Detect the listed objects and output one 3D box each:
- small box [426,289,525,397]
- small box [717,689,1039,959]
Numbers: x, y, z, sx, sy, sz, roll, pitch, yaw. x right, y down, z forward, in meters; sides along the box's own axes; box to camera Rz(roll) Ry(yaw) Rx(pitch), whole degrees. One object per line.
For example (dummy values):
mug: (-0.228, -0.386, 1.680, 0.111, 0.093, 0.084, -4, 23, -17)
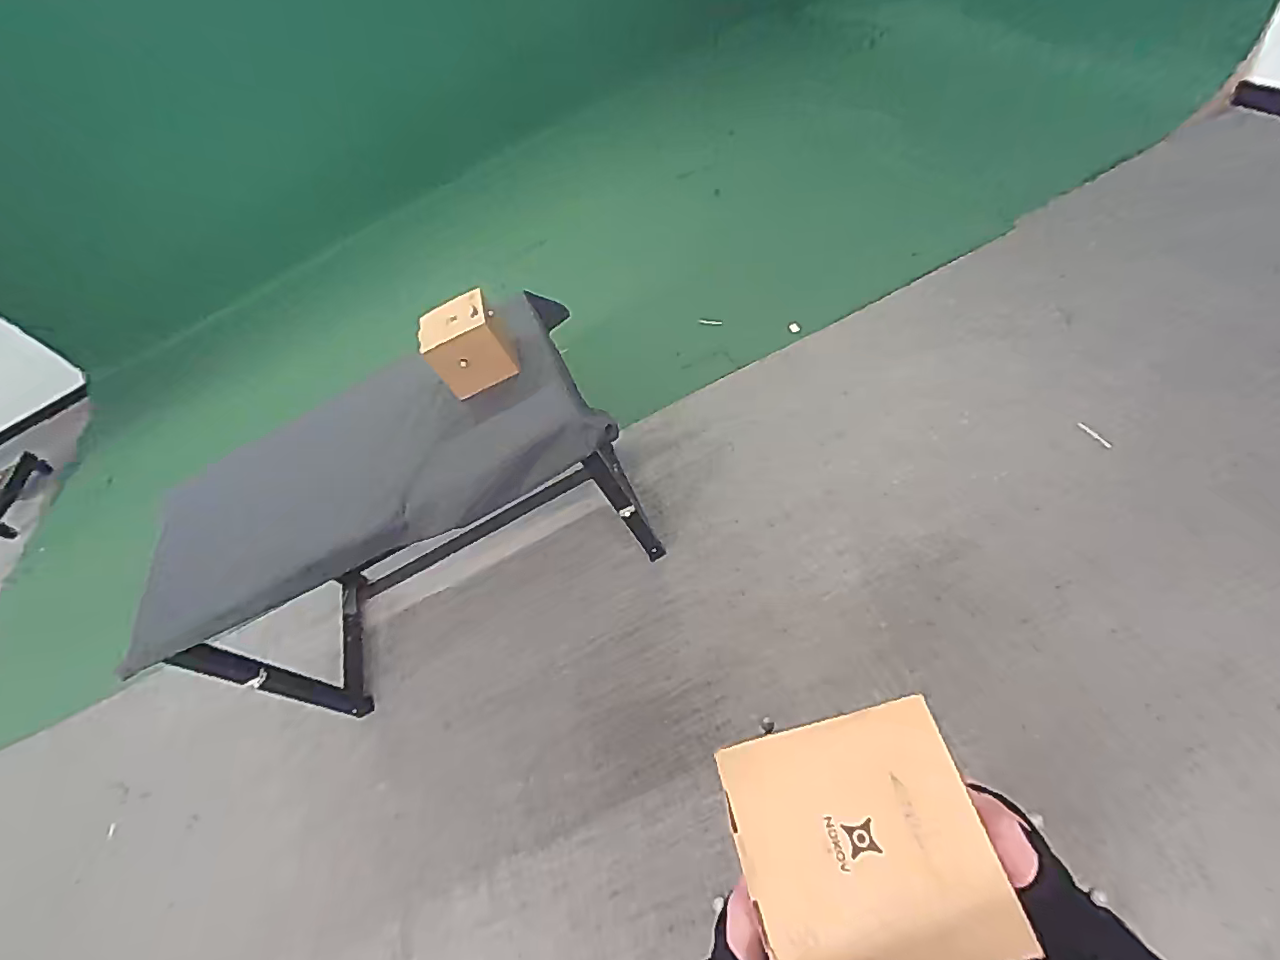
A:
small box: (-0.418, -0.342, 1.377, 0.179, 0.176, 0.168, -25, 51, 6)
small box: (0.187, 0.295, 0.470, 0.179, 0.176, 0.168, -22, 62, 8)
